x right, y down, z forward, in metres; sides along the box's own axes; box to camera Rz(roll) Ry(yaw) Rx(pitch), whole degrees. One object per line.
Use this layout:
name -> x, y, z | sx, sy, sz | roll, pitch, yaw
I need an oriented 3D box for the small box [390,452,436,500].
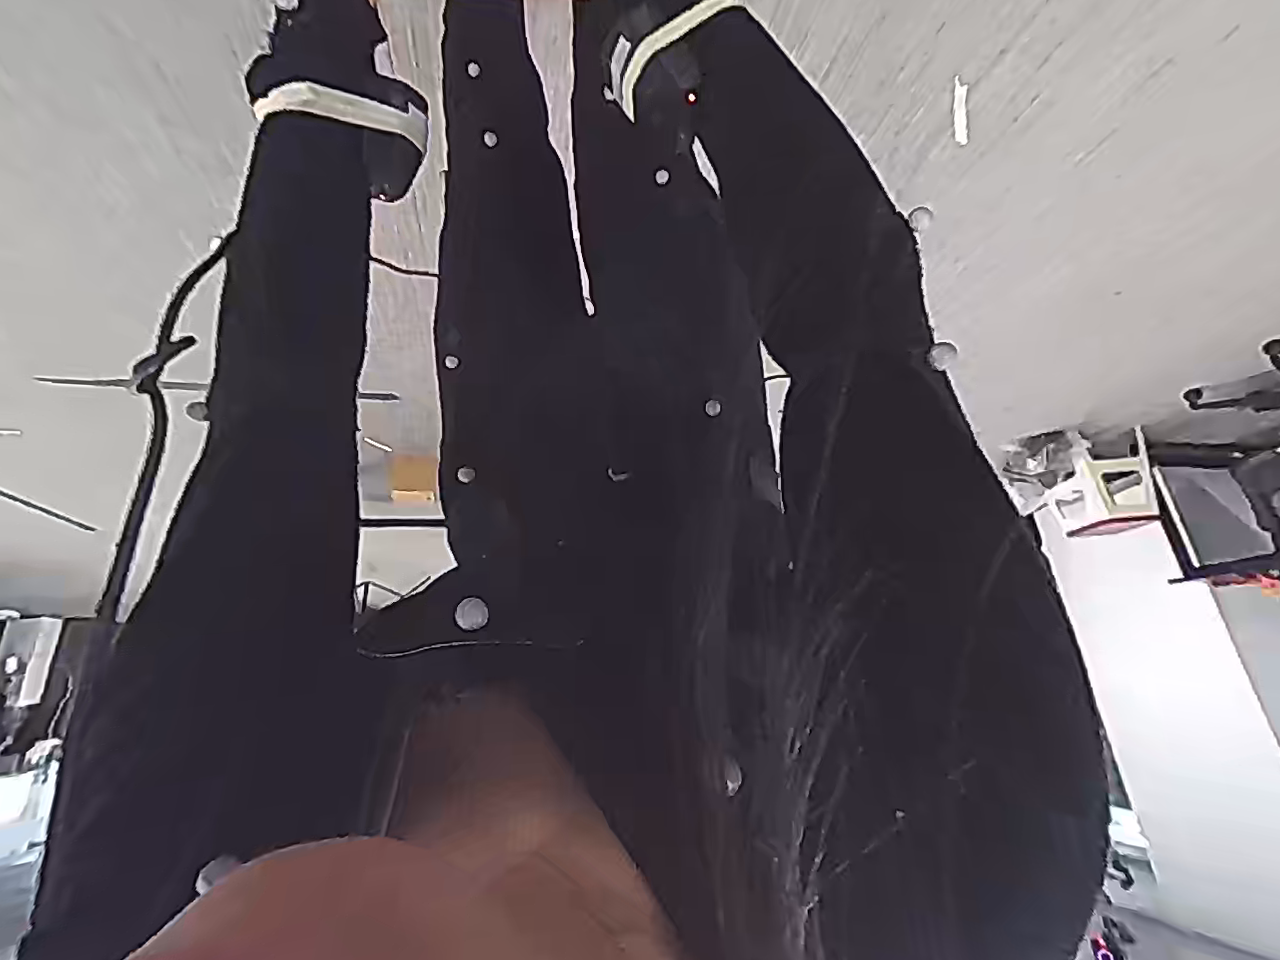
small box -> -1.024, -0.020, 2.451 | 0.179, 0.176, 0.168 | 3, 159, -18
